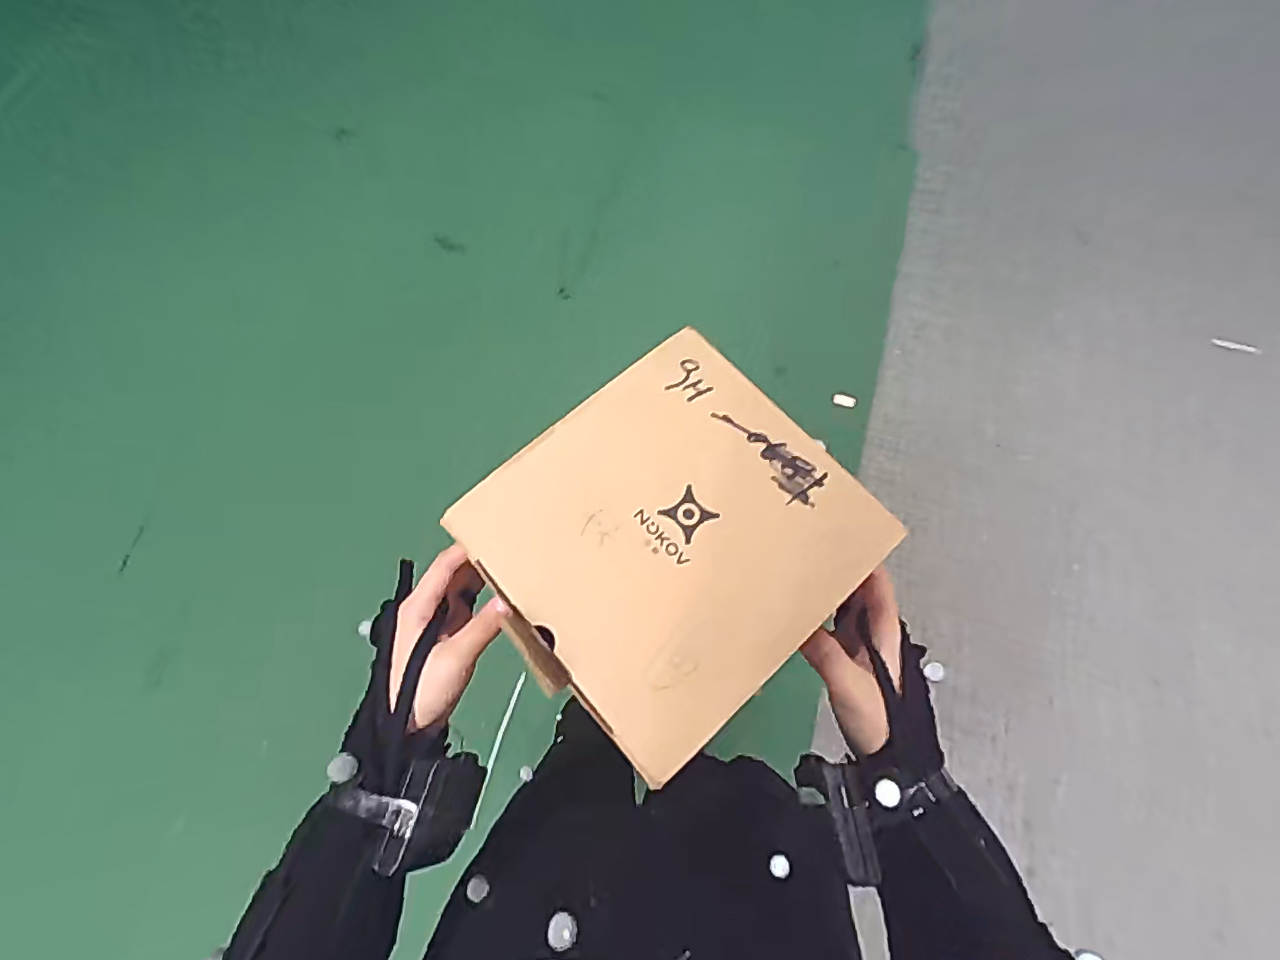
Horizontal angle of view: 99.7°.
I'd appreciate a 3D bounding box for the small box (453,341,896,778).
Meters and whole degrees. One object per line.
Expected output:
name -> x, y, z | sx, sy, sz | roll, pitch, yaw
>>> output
small box -> 0.018, 0.053, 0.355 | 0.179, 0.176, 0.168 | -39, 75, -13
